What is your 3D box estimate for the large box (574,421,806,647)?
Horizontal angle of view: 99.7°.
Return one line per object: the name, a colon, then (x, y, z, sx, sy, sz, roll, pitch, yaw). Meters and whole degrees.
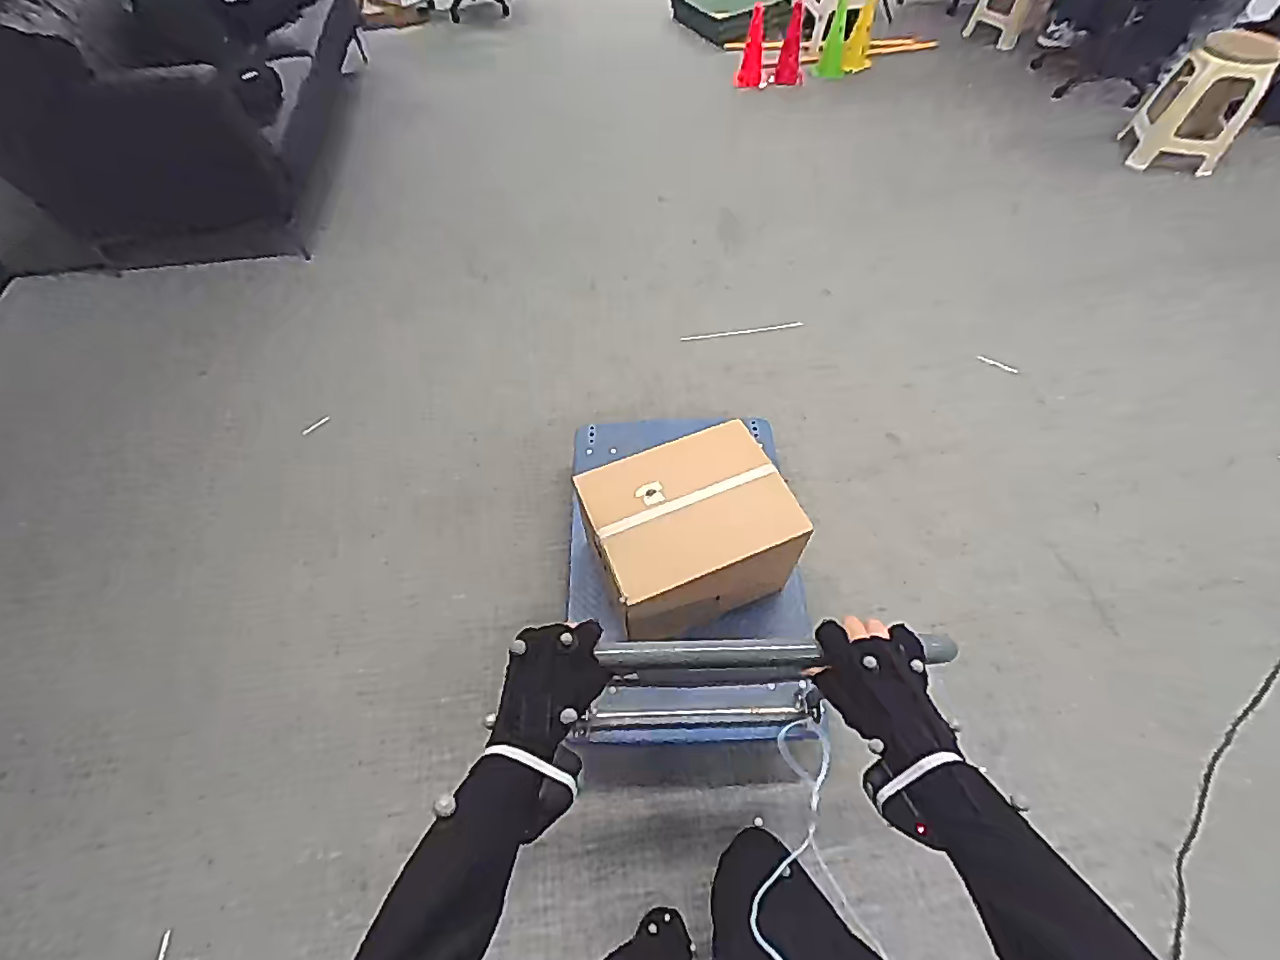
large box: (0.103, 0.129, 1.249, 0.408, 0.320, 0.320, -22, 58, -11)
